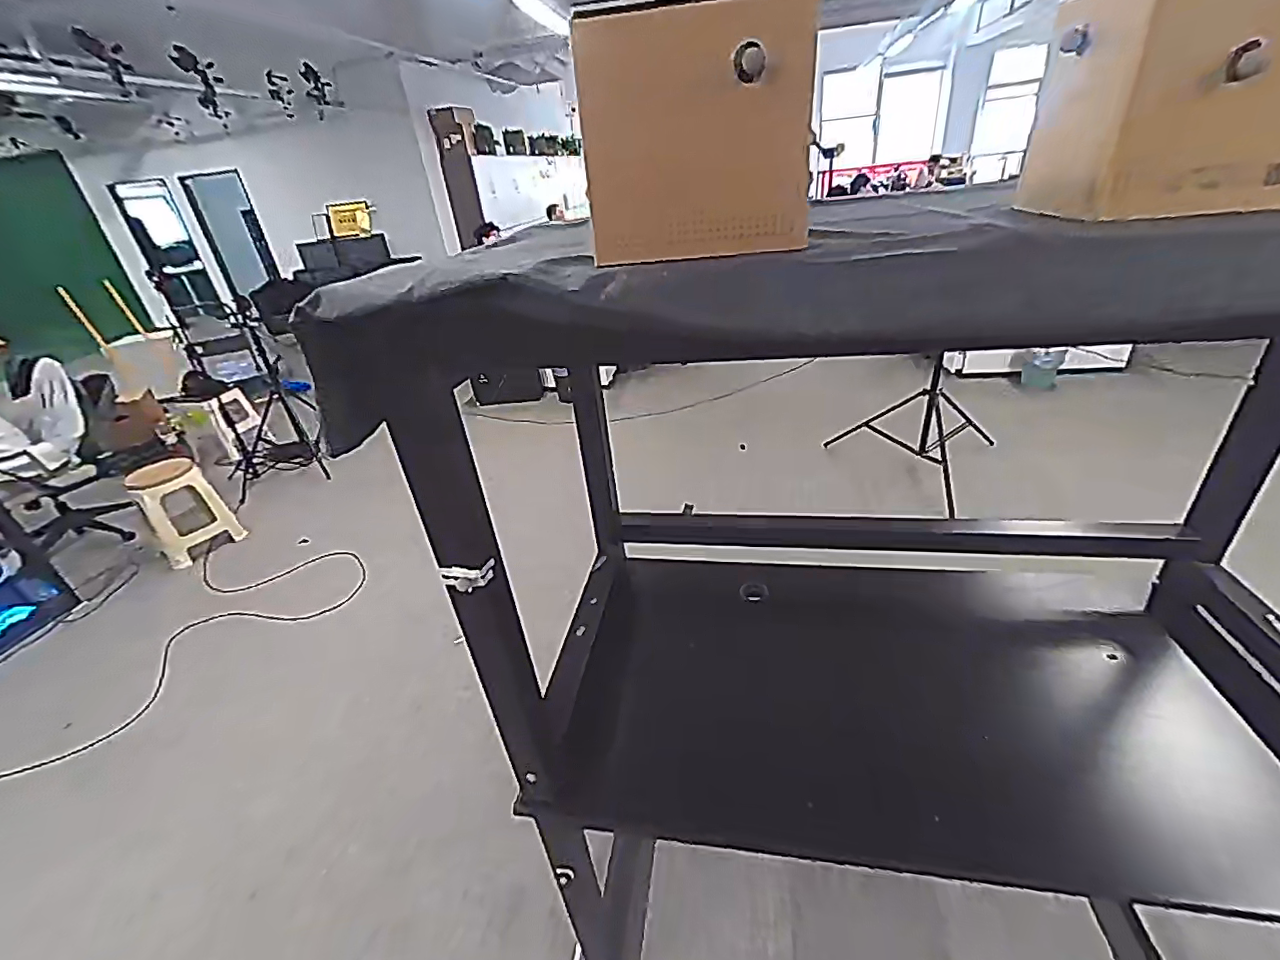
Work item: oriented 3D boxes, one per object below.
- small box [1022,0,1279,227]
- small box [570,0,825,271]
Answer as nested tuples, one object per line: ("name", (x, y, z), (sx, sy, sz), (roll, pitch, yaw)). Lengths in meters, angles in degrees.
("small box", (0.431, -0.296, 0.417), (0.168, 0.176, 0.179), (2, 29, 14))
("small box", (0.052, -0.288, 0.474), (0.179, 0.176, 0.168), (-2, 28, 8))
